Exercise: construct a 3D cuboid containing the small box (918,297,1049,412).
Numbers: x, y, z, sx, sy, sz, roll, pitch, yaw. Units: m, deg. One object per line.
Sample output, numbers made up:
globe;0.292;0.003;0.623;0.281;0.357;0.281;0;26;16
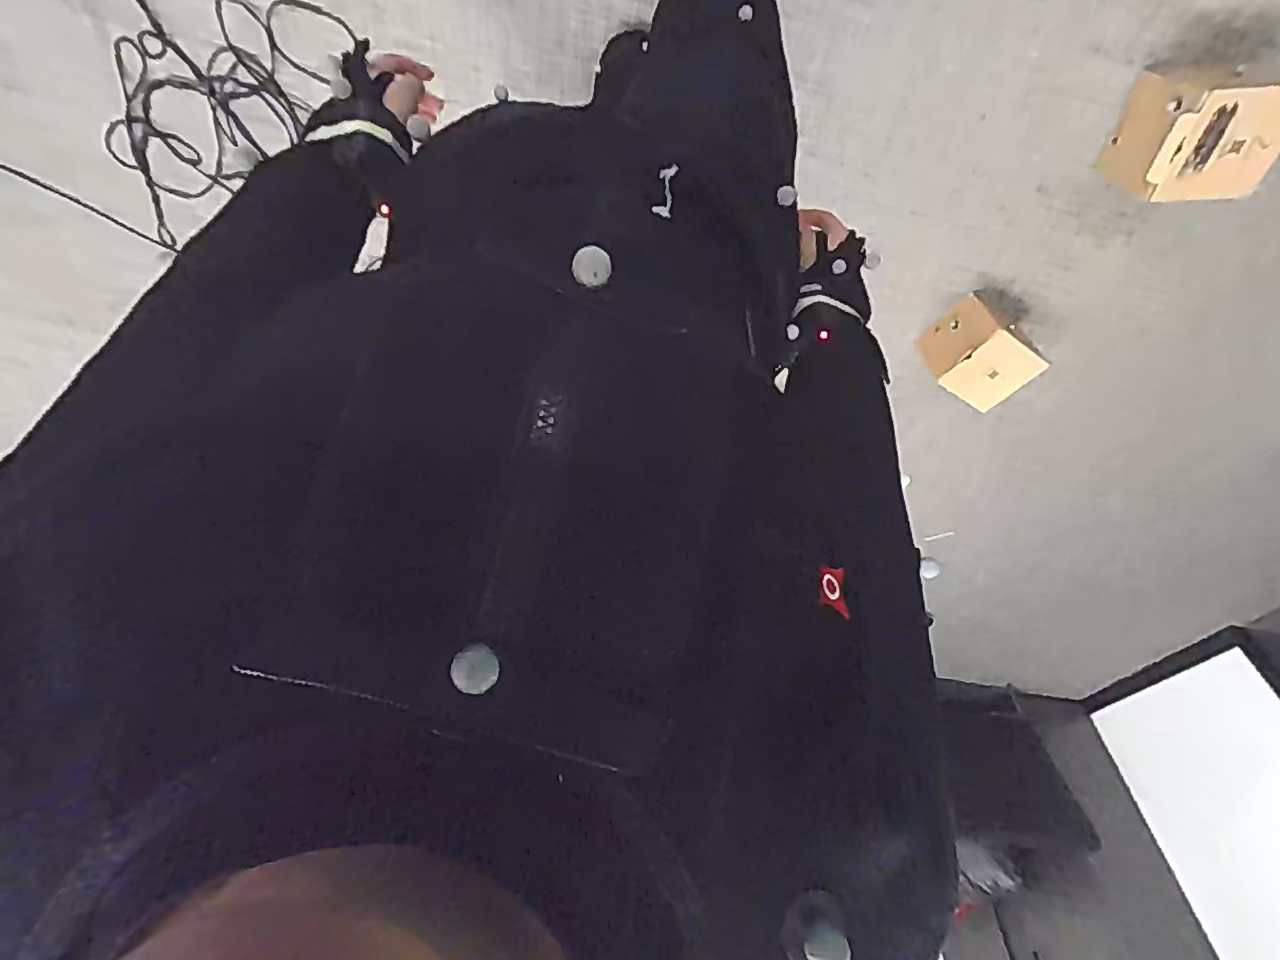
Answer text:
small box;0.798;-0.298;1.270;0.179;0.176;0.168;24;133;-20
